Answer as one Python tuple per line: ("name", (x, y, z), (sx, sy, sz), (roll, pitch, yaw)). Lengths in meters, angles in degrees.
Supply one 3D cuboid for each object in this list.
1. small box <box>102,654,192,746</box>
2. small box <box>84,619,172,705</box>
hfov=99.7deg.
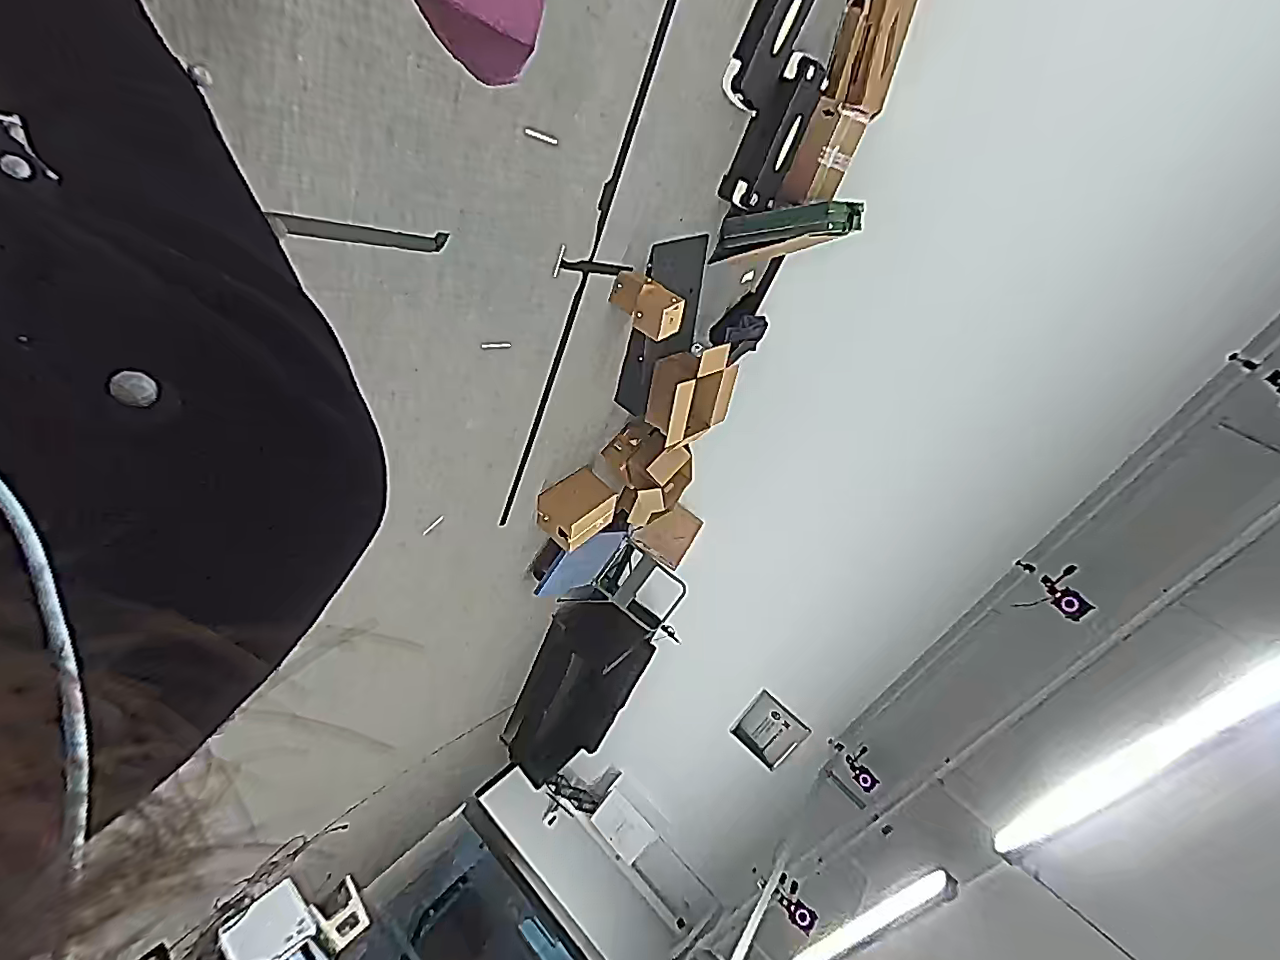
("small box", (-1.567, 0.695, 1.722), (0.168, 0.176, 0.179), (-25, 146, -52))
("small box", (-1.685, 0.597, 1.782), (0.179, 0.176, 0.168), (-26, 147, -51))
